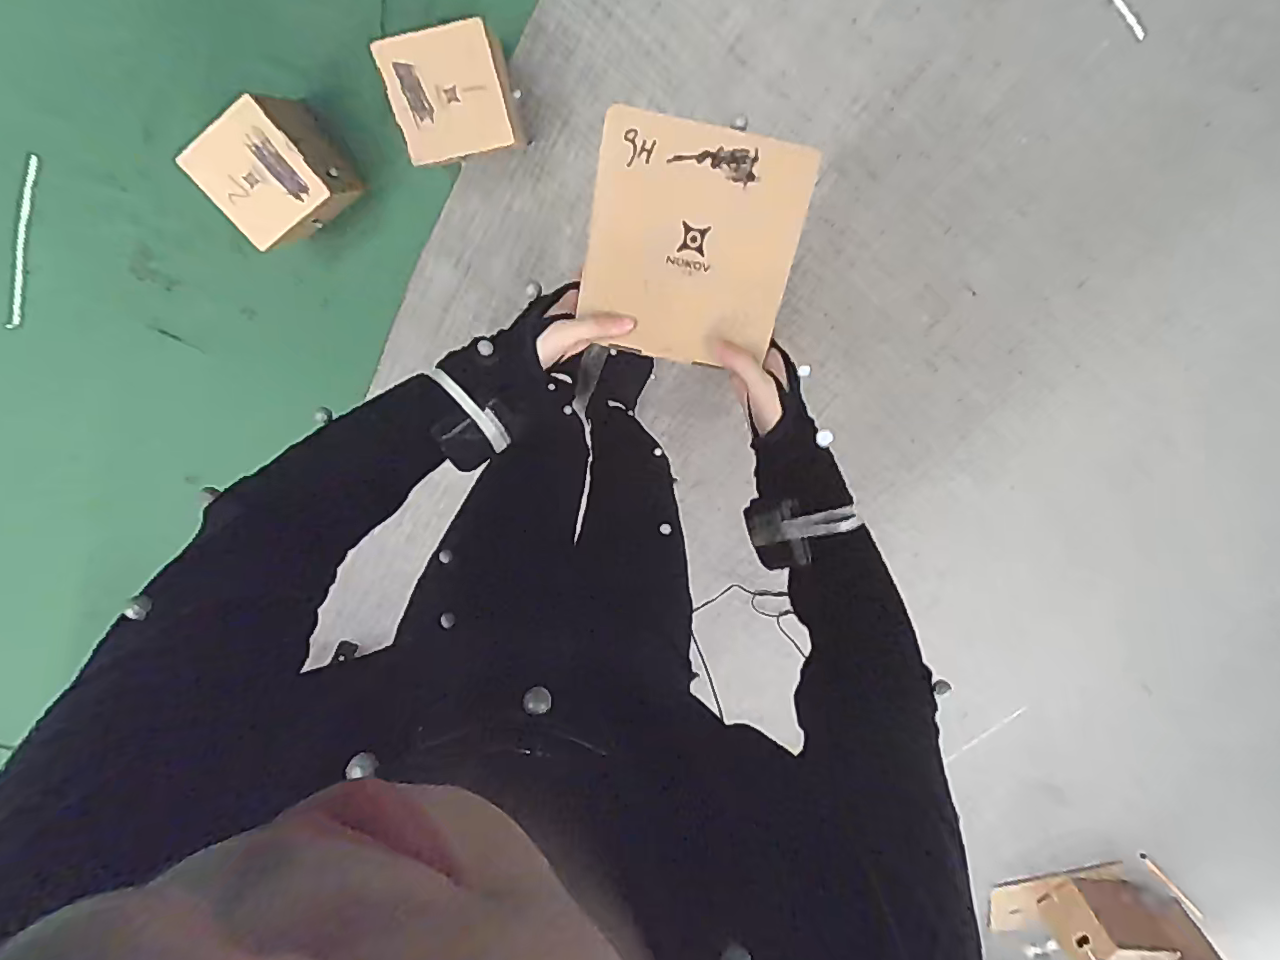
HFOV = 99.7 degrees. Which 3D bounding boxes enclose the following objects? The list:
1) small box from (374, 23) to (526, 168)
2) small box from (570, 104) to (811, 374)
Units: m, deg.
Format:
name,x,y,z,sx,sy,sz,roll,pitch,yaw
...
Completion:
name,x,y,z,sx,sy,sz,roll,pitch,yaw
small box,-0.306,-0.636,0.914,0.179,0.176,0.168,-11,121,2
small box,0.038,-0.218,0.512,0.168,0.176,0.179,11,113,-3
